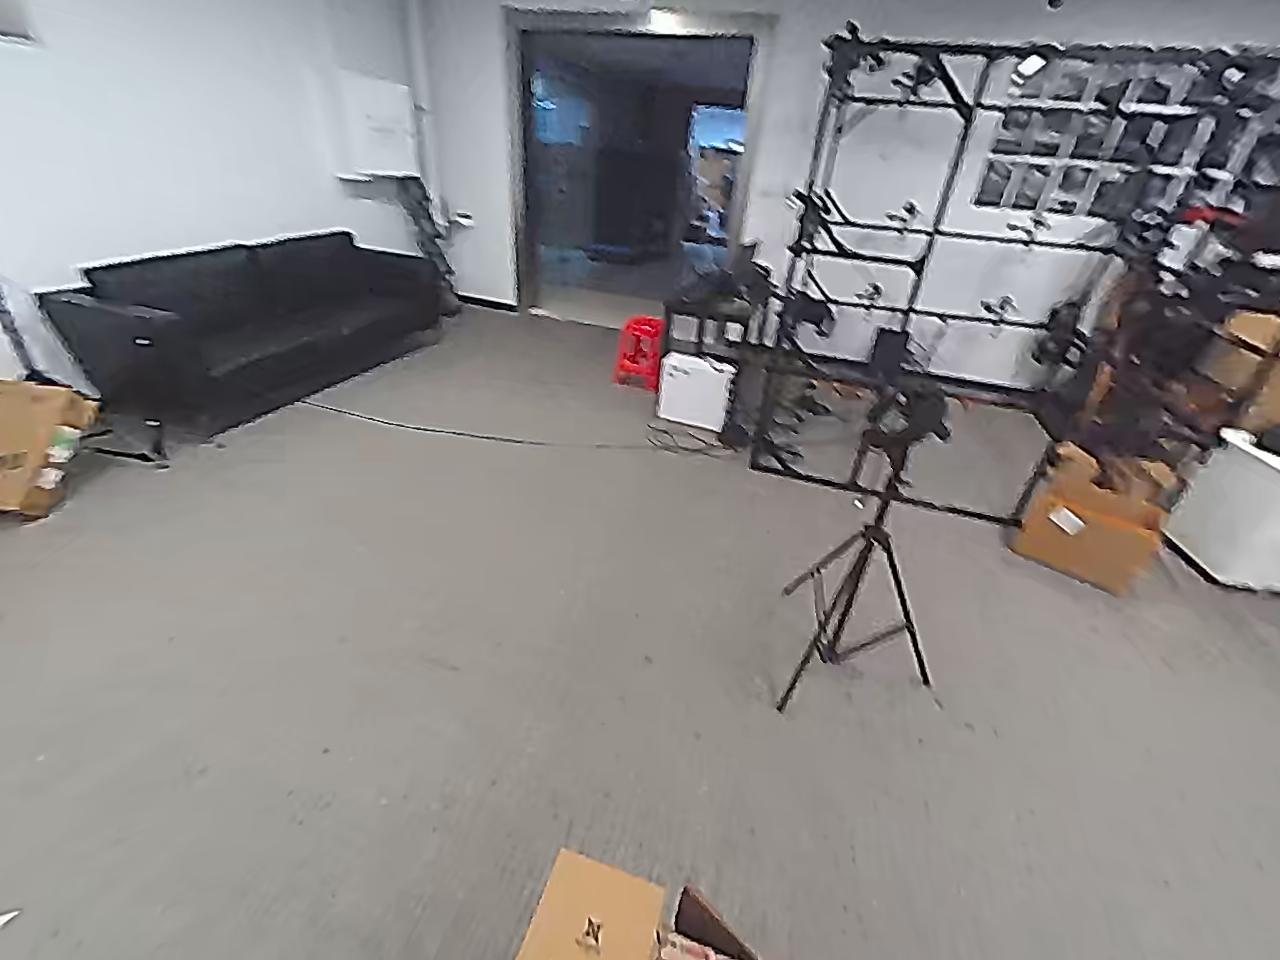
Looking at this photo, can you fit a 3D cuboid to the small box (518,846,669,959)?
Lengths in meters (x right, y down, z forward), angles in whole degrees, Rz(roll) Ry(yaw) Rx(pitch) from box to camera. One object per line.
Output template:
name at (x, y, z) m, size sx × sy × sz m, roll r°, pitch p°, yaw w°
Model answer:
small box at (-0.066, 0.675, 0.763) m, size 0.168 × 0.176 × 0.179 m, roll 12°, pitch 34°, yaw 15°
